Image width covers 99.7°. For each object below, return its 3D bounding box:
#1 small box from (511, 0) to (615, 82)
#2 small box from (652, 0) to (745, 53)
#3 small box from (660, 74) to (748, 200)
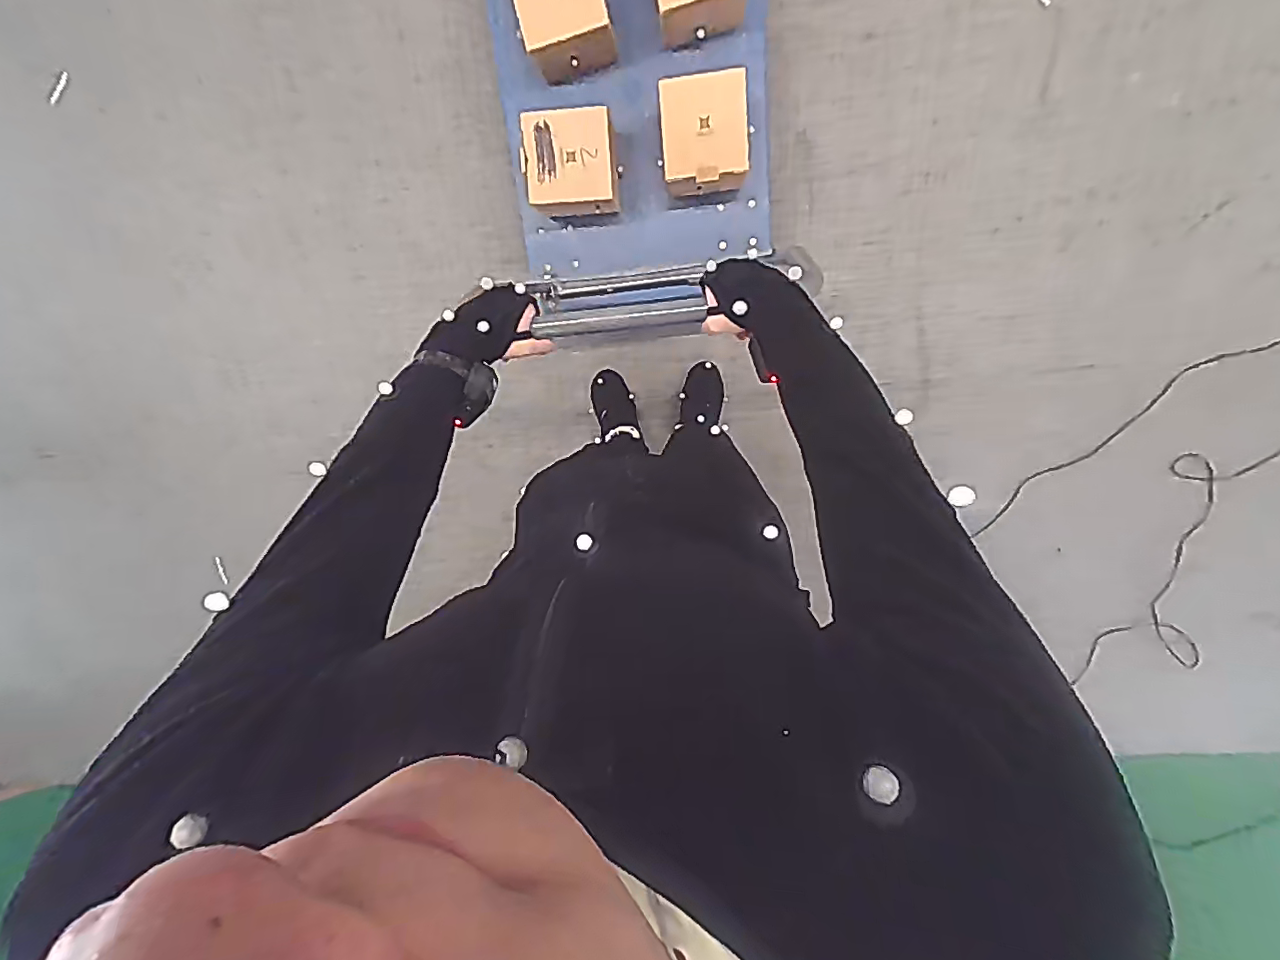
[{"bbox_3d":[-0.152,-0.925,1.068,0.168,0.176,0.179,-12,107,8],"label":"small box"},{"bbox_3d":[0.101,-0.971,1.034,0.168,0.176,0.179,-11,108,9],"label":"small box"},{"bbox_3d":[0.129,-0.701,1.123,0.168,0.176,0.179,-5,108,6],"label":"small box"}]
